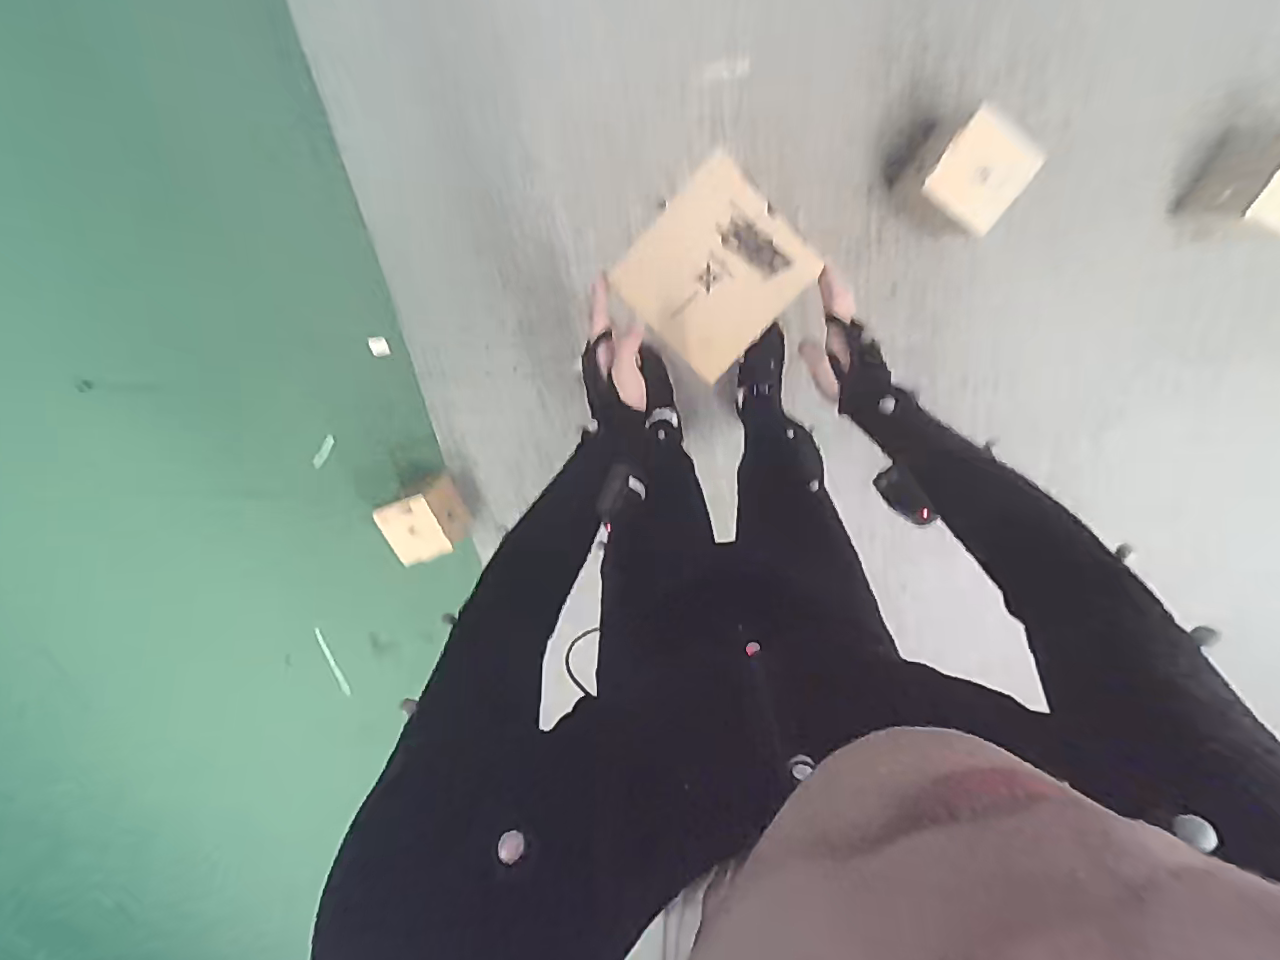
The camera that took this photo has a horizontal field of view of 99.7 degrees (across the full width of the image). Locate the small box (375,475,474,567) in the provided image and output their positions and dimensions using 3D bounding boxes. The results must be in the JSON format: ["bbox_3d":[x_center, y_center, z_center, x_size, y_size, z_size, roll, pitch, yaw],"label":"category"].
[{"bbox_3d":[-0.600,0.113,1.533,0.168,0.176,0.179,-18,112,11],"label":"small box"}]

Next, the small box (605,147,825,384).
[{"bbox_3d":[0.078,-0.240,0.640,0.168,0.176,0.179,43,103,-10],"label":"small box"}]
